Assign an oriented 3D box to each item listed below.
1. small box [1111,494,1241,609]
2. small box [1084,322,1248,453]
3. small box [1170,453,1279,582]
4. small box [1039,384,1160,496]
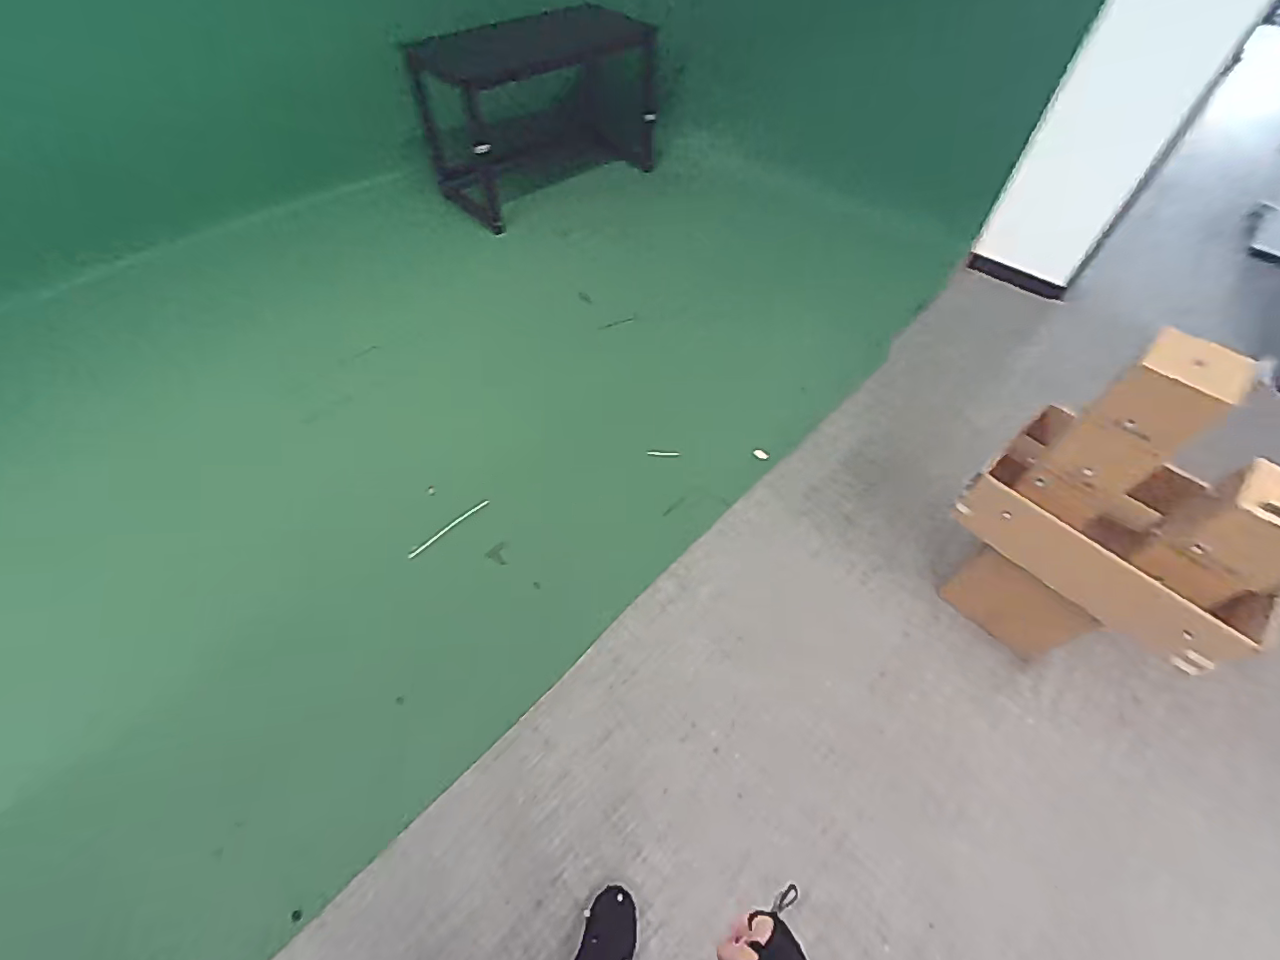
[{"bbox_3d":[1.281,0.171,1.278,0.179,0.176,0.168,-35,62,-22],"label":"small box"},{"bbox_3d":[1.088,-0.192,1.132,0.179,0.176,0.168,-38,62,-25],"label":"small box"},{"bbox_3d":[1.284,0.083,1.139,0.168,0.176,0.179,39,62,24],"label":"small box"},{"bbox_3d":[1.086,-0.097,1.265,0.179,0.176,0.168,-38,62,-25],"label":"small box"}]
